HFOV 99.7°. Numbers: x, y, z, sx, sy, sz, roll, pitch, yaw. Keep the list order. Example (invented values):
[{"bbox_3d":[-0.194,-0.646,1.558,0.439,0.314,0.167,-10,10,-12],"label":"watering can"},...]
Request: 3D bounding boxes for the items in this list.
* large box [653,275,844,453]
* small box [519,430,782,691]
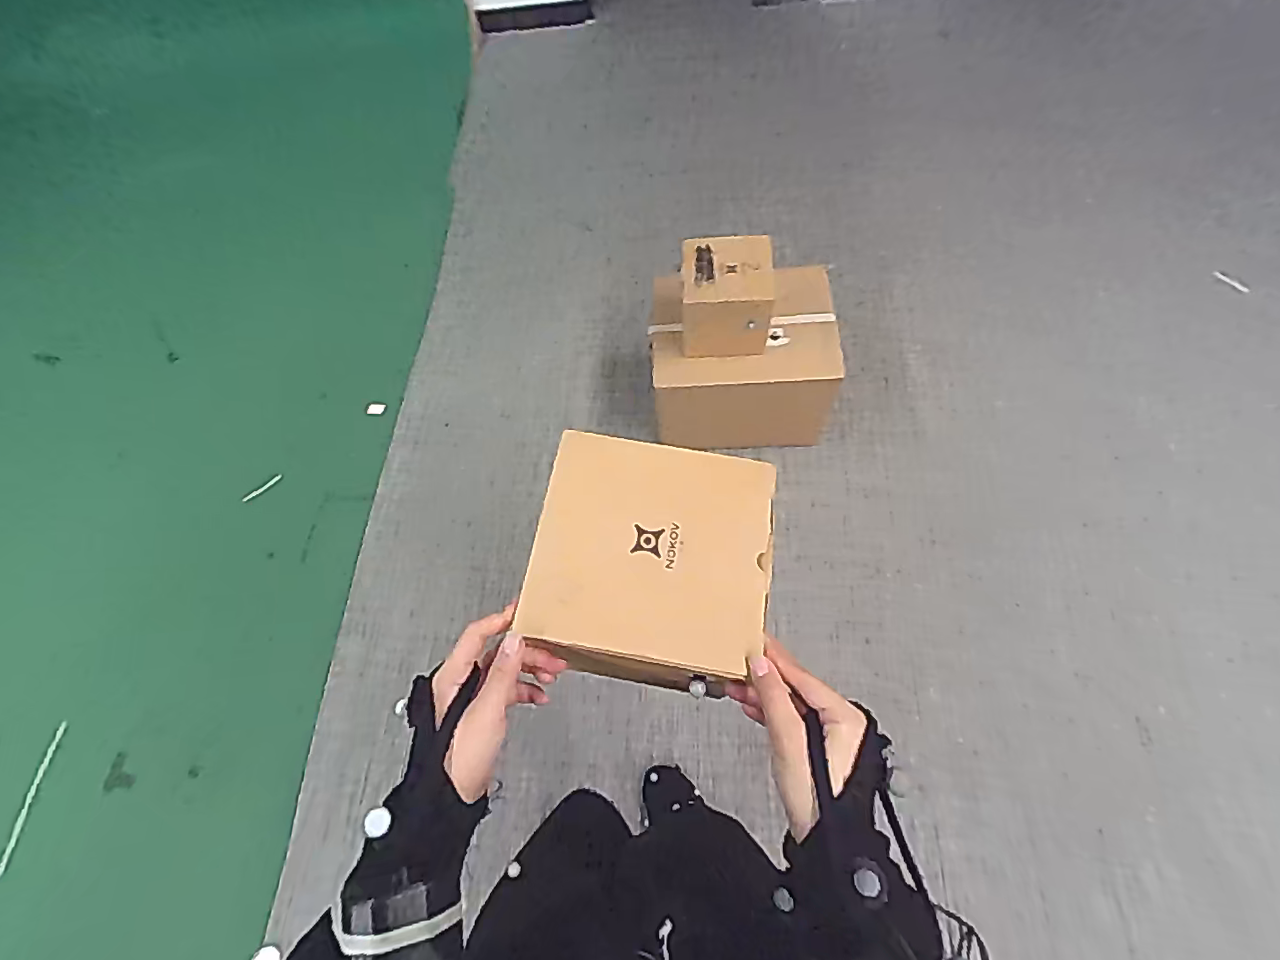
[{"bbox_3d":[0.242,-0.269,1.344,0.408,0.320,0.320,-2,67,4],"label":"large box"},{"bbox_3d":[0.012,0.080,0.475,0.179,0.176,0.168,10,64,2],"label":"small box"}]
